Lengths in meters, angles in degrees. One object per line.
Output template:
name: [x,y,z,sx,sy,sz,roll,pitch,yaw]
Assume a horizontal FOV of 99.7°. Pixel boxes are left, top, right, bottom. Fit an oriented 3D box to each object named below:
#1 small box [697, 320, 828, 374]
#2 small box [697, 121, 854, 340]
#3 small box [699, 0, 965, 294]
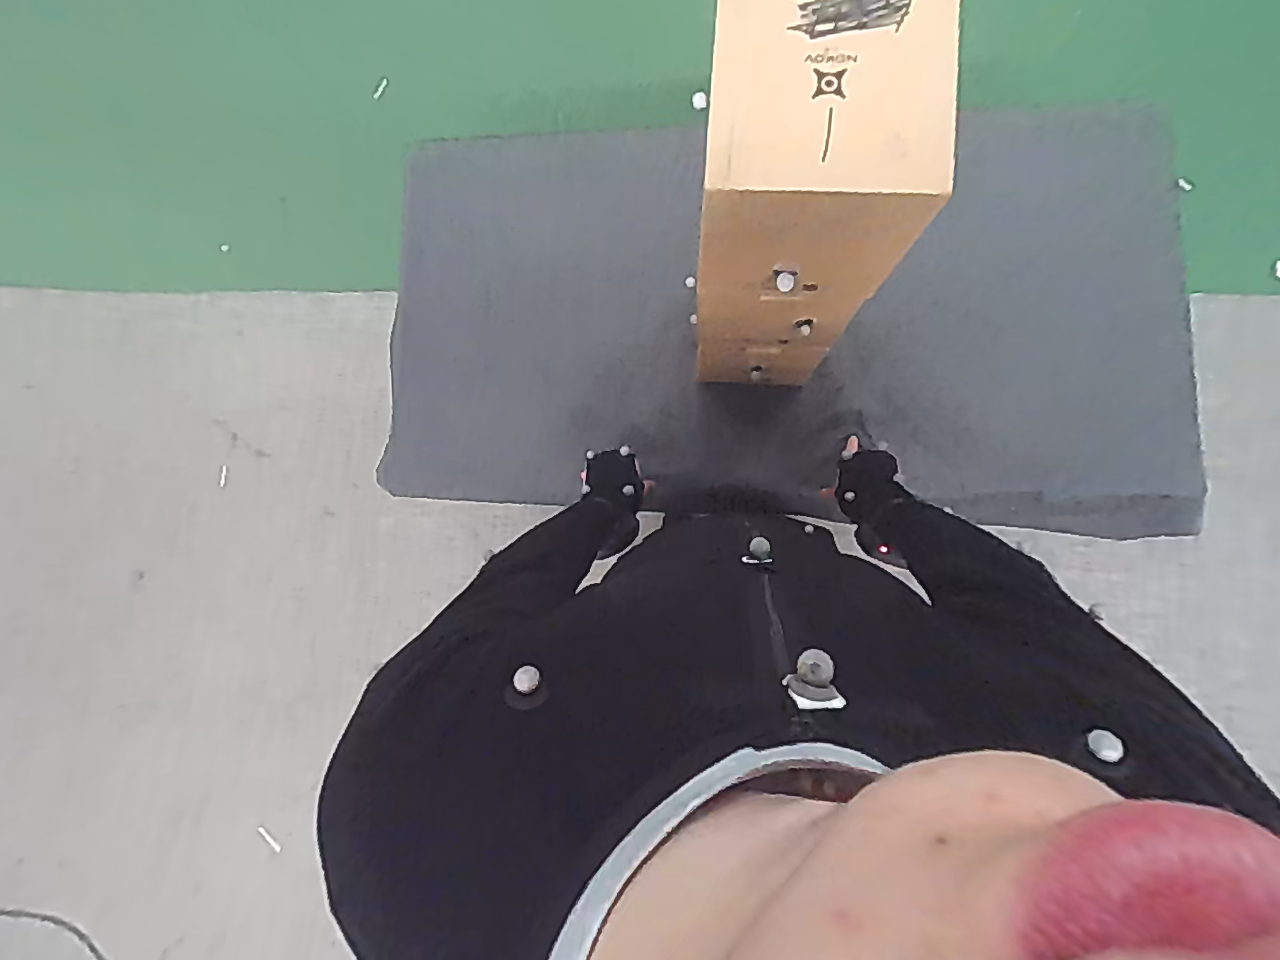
small box: [0.170,-0.255,0.769,0.168,0.176,0.179,4,86,6]
small box: [0.151,-0.267,0.607,0.168,0.176,0.179,3,85,5]
small box: [0.138,-0.275,0.444,0.168,0.176,0.179,4,87,6]
